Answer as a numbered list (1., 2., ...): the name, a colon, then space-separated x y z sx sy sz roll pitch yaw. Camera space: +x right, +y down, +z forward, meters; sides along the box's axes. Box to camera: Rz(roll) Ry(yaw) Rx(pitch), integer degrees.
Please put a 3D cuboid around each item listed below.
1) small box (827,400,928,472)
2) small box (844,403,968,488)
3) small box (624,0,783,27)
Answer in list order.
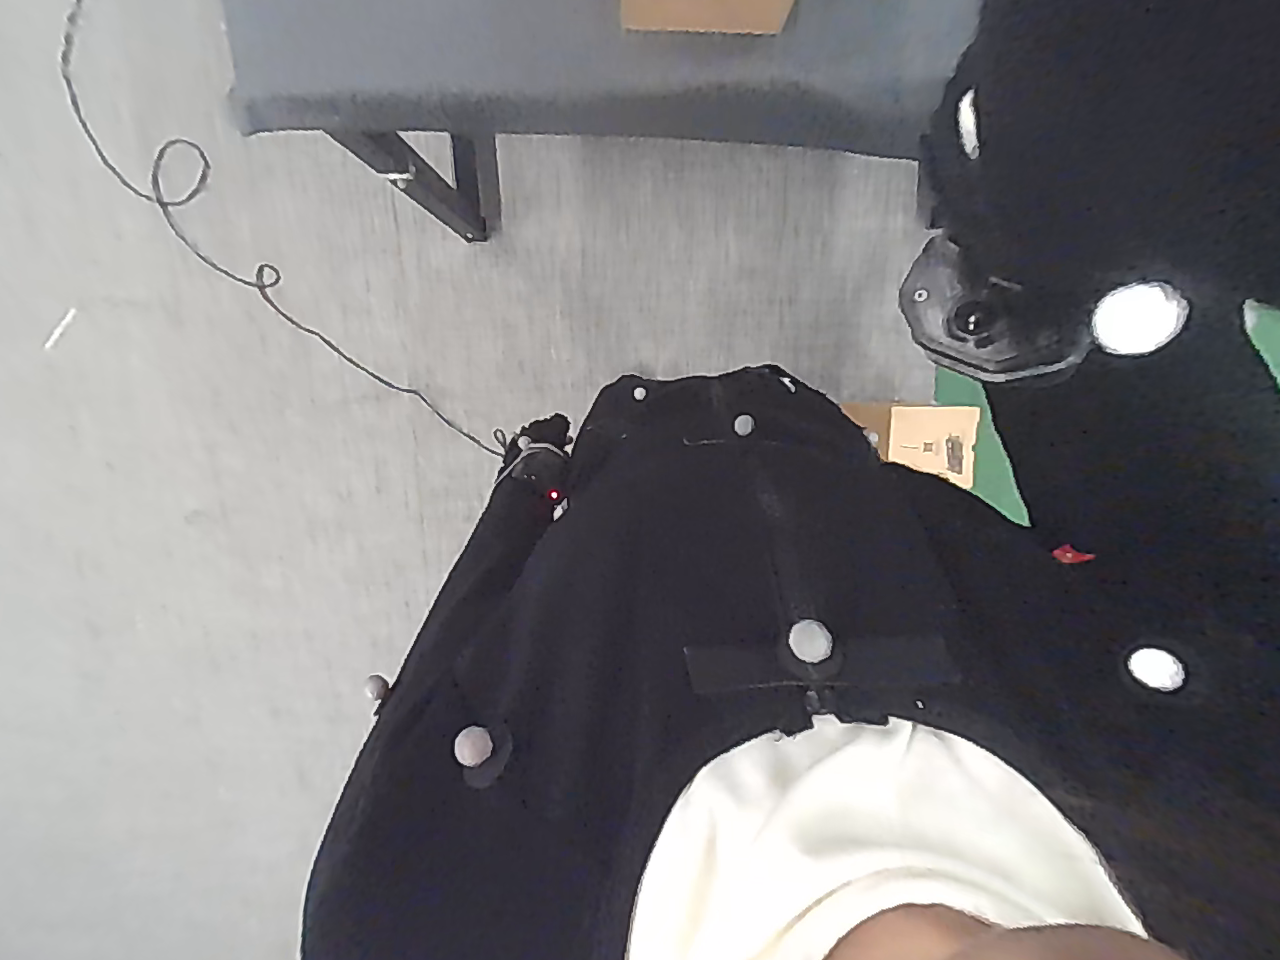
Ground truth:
1. small box: 0.577 -0.111 1.329 0.179 0.176 0.168 -1 99 2
2. small box: 0.565 -0.081 1.167 0.179 0.176 0.168 2 99 1
3. small box: 0.070 -0.567 0.503 0.179 0.176 0.168 3 99 0
